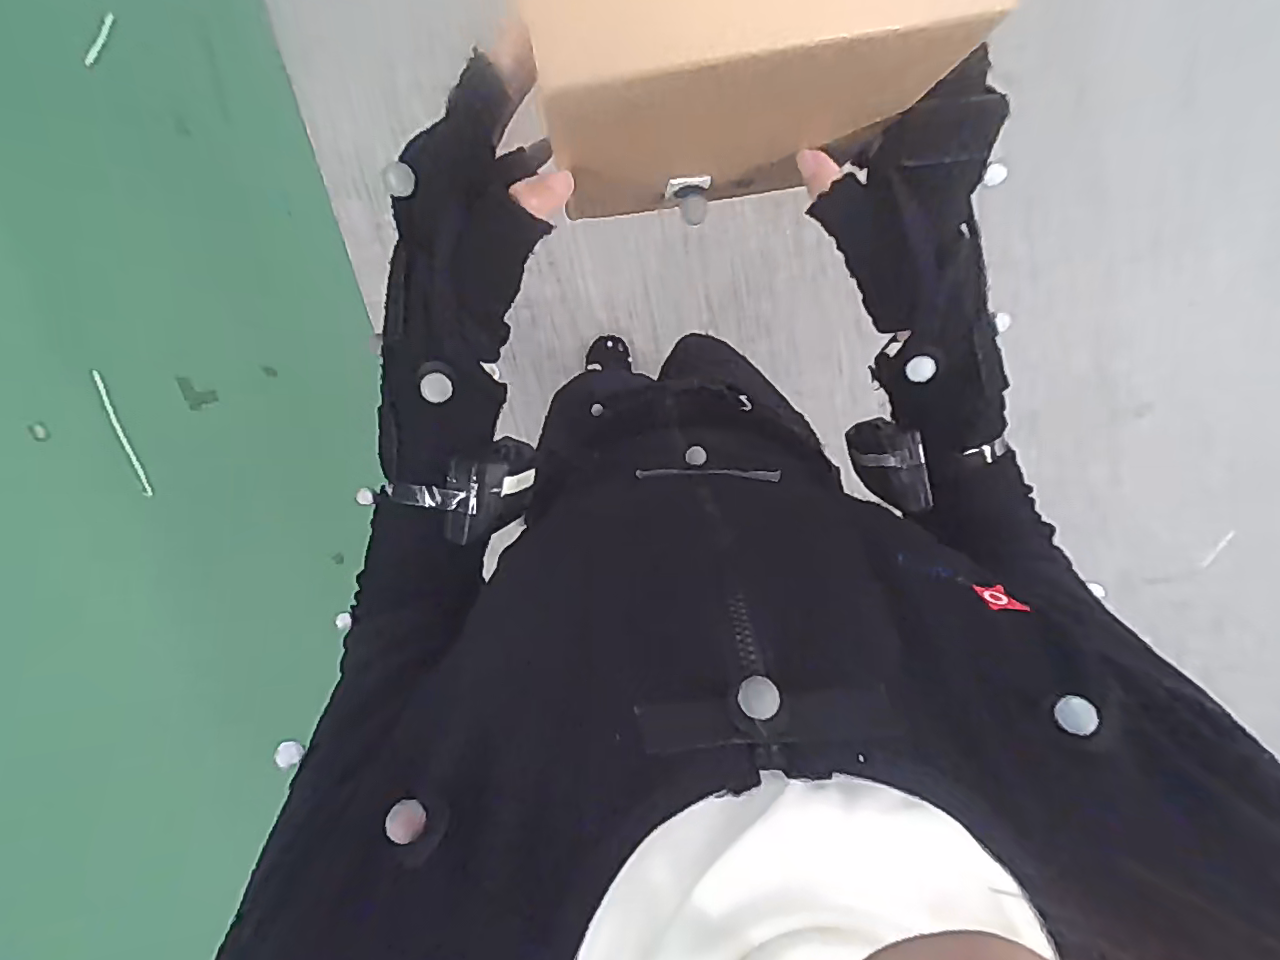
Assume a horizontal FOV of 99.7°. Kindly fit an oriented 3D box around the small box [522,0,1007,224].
[{"bbox_3d":[0.027,-0.242,0.246,0.168,0.176,0.179,-11,102,0],"label":"small box"}]
